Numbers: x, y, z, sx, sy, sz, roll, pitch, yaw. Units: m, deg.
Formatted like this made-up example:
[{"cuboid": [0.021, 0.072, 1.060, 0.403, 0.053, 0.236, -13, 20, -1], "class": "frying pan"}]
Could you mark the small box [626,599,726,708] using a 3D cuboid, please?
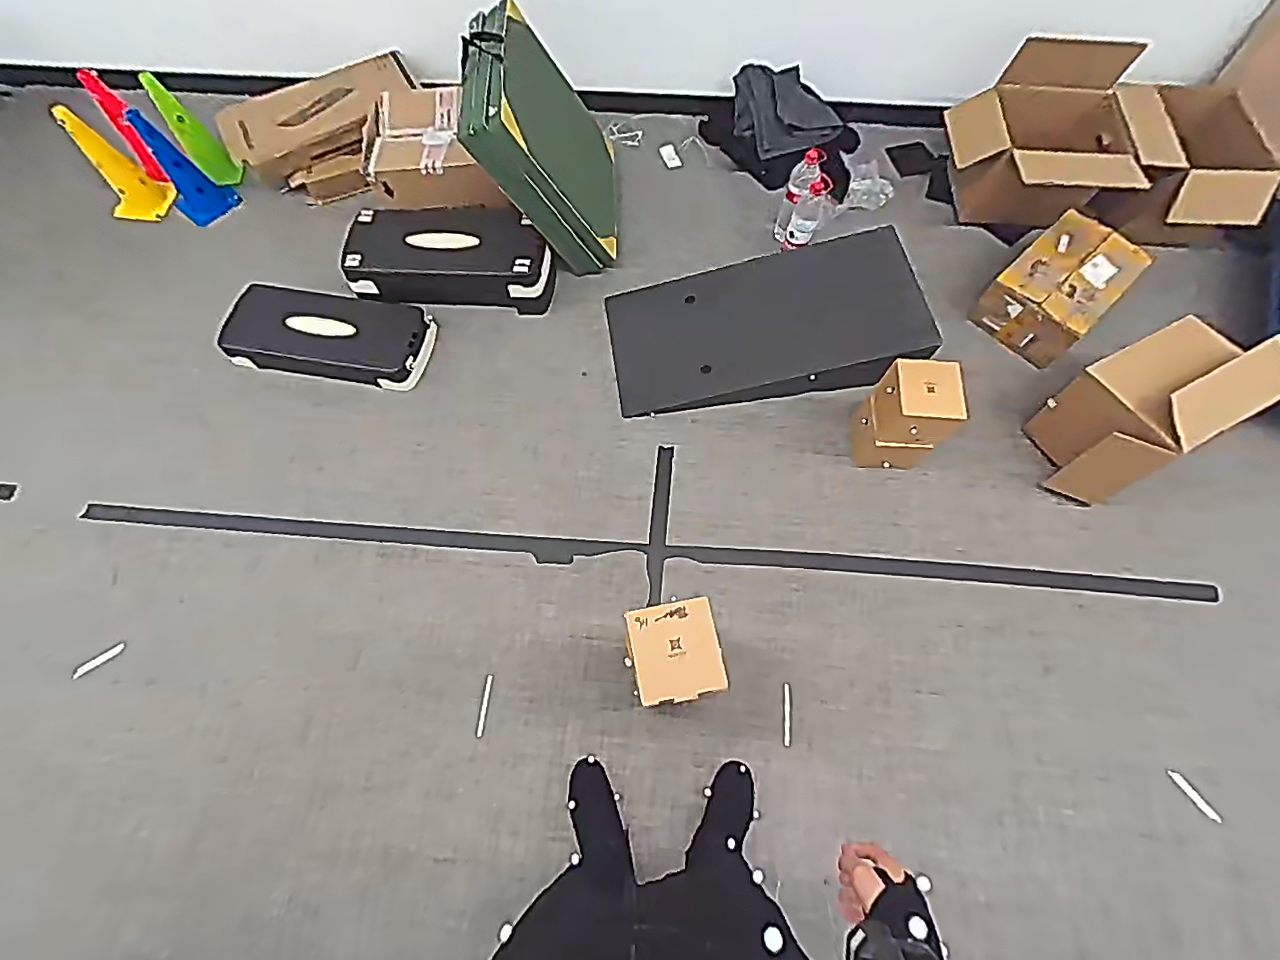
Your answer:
[{"cuboid": [0.067, 0.353, 1.099, 0.168, 0.176, 0.179, -10, 69, -4], "class": "small box"}]
